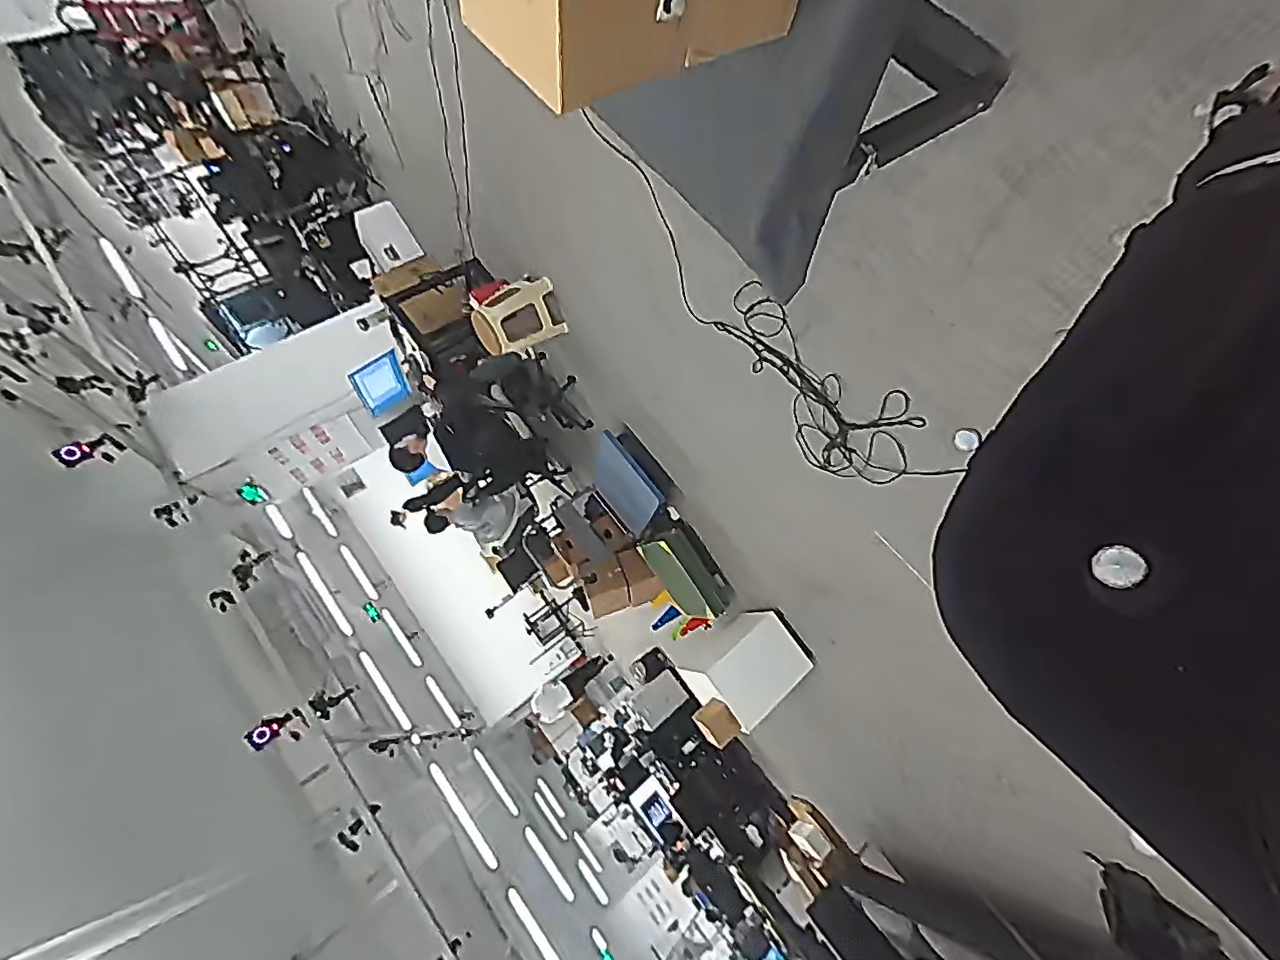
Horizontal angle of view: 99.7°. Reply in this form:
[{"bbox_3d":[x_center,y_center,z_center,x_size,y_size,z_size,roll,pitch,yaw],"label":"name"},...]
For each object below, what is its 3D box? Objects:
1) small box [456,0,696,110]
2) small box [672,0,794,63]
[{"bbox_3d":[-0.060,-0.489,0.492,0.179,0.176,0.168,48,159,15],"label":"small box"},{"bbox_3d":[0.064,-0.578,0.550,0.179,0.176,0.168,48,158,15],"label":"small box"}]
